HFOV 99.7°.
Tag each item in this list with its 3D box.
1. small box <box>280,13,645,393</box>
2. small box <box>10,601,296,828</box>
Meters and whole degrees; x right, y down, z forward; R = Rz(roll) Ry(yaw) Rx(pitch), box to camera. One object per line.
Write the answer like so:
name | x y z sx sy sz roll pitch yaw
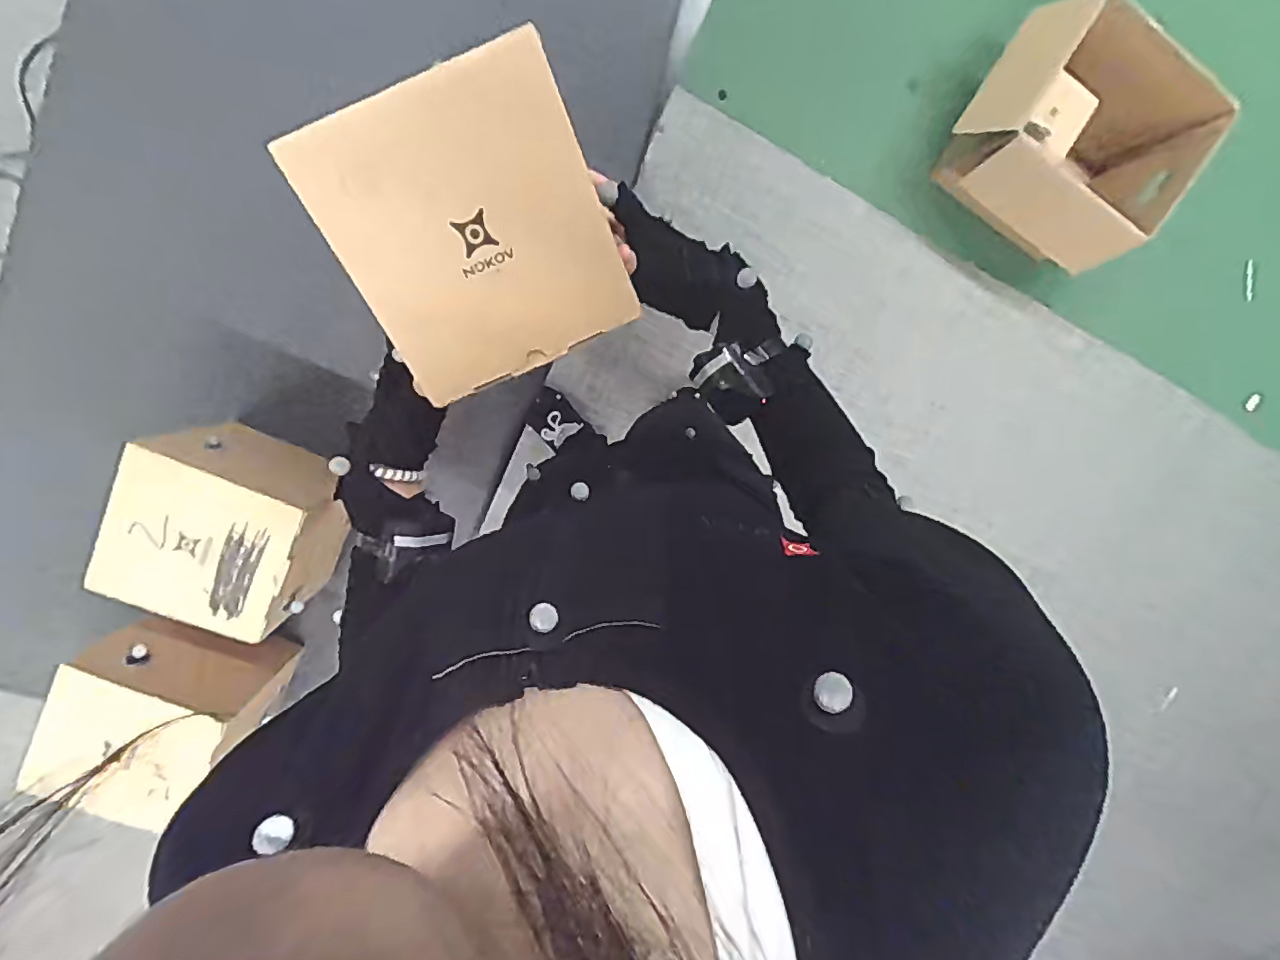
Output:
small box | -0.115 -0.197 0.409 0.168 0.176 0.179 -23 122 0
small box | -0.577 0.272 0.666 0.179 0.176 0.168 26 99 -11
